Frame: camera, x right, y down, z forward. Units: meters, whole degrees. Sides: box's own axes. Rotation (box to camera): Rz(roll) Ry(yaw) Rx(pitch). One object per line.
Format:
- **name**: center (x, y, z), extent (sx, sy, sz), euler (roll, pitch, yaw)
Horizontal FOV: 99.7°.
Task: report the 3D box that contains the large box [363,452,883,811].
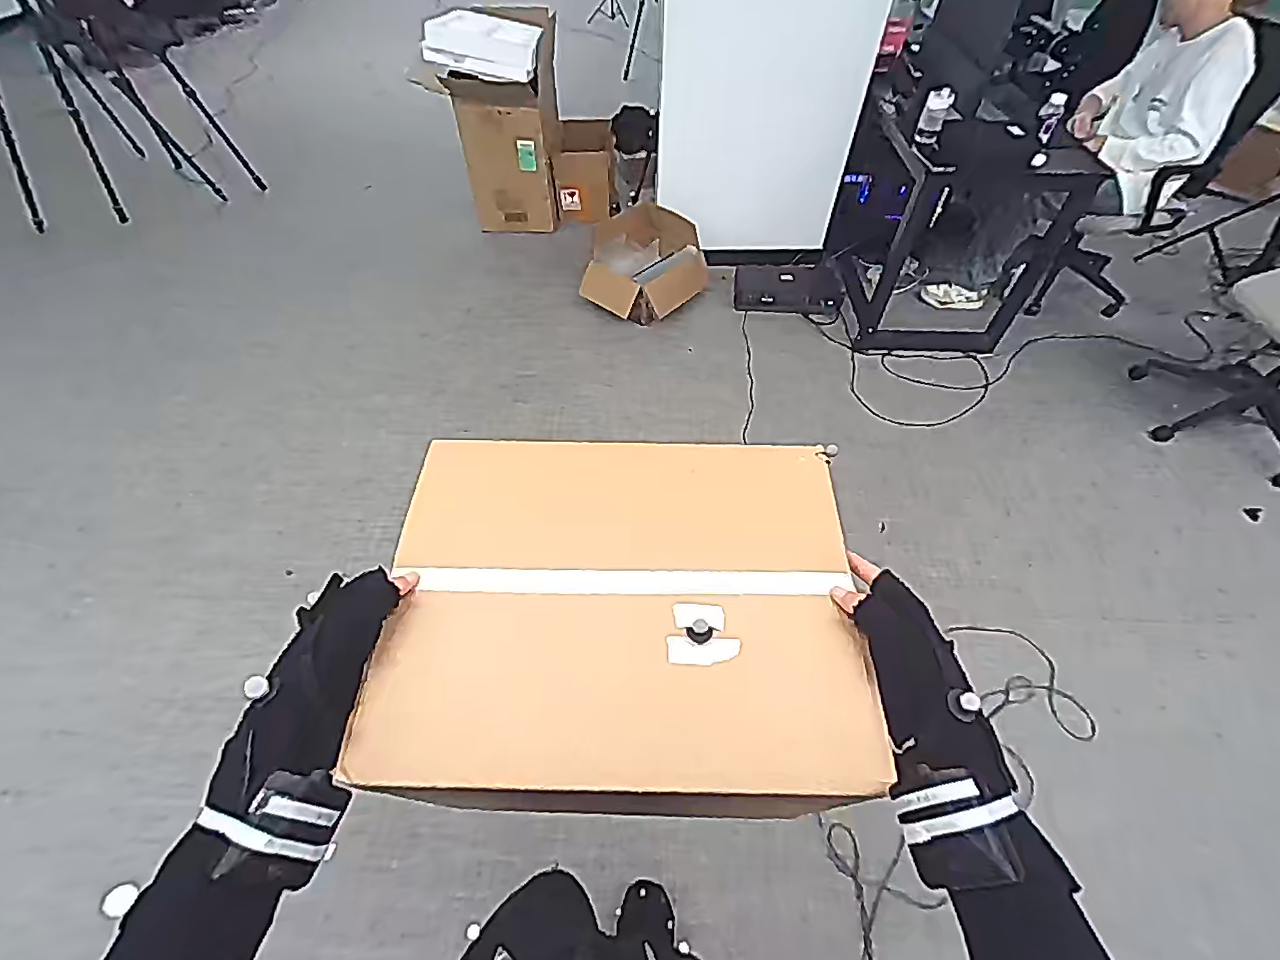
- **large box**: center (-0.014, 0.182, 0.612), extent (0.408, 0.320, 0.320), euler (1, 56, 0)
